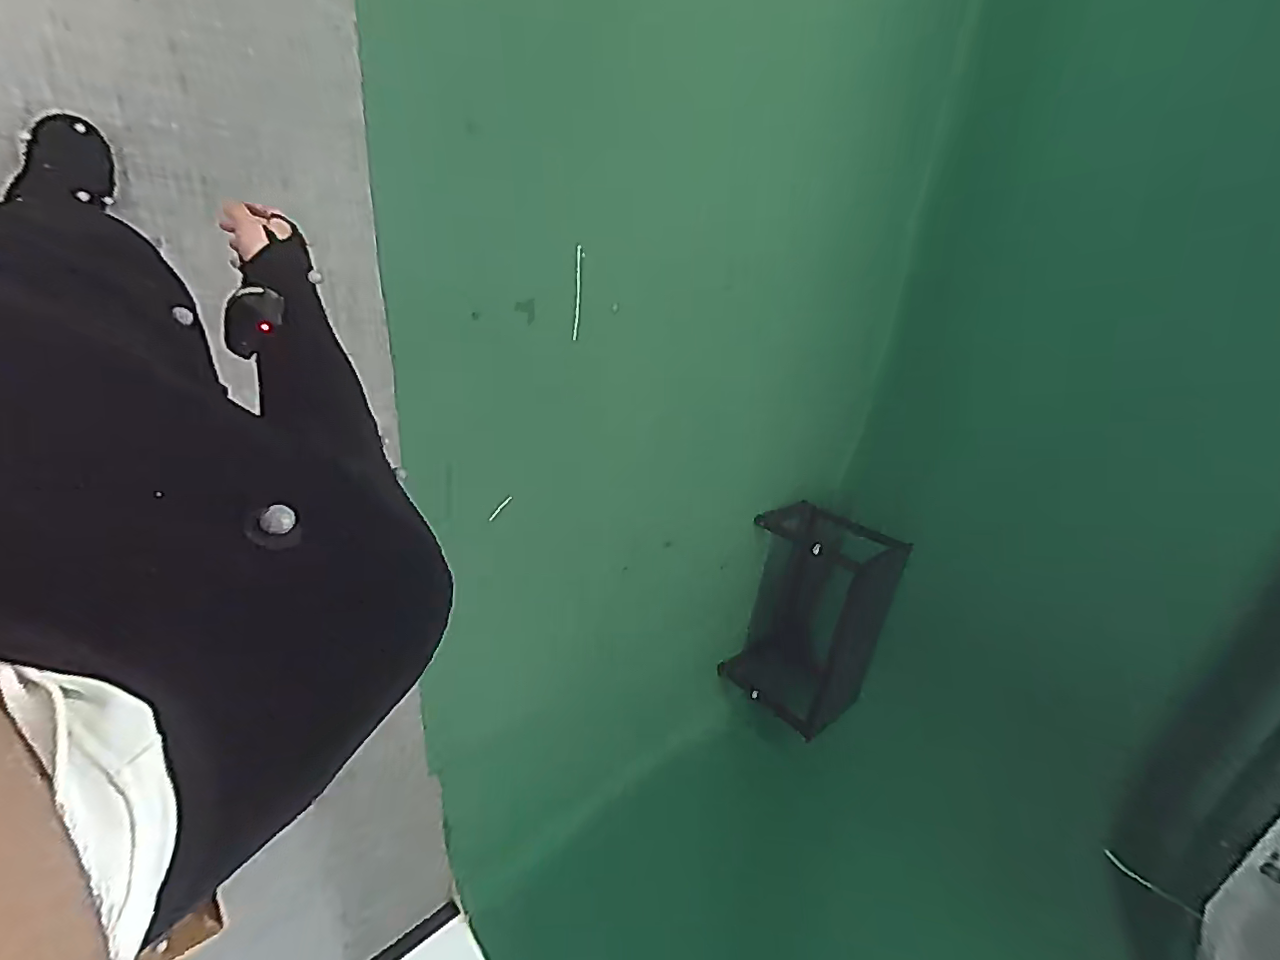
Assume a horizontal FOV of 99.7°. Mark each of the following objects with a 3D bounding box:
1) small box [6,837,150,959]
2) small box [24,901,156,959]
[{"bbox_3d":[-1.118,0.881,1.090,0.179,0.176,0.168,-13,121,-42],"label":"small box"},{"bbox_3d":[-1.007,0.938,0.983,0.179,0.176,0.168,-16,122,-42],"label":"small box"}]
